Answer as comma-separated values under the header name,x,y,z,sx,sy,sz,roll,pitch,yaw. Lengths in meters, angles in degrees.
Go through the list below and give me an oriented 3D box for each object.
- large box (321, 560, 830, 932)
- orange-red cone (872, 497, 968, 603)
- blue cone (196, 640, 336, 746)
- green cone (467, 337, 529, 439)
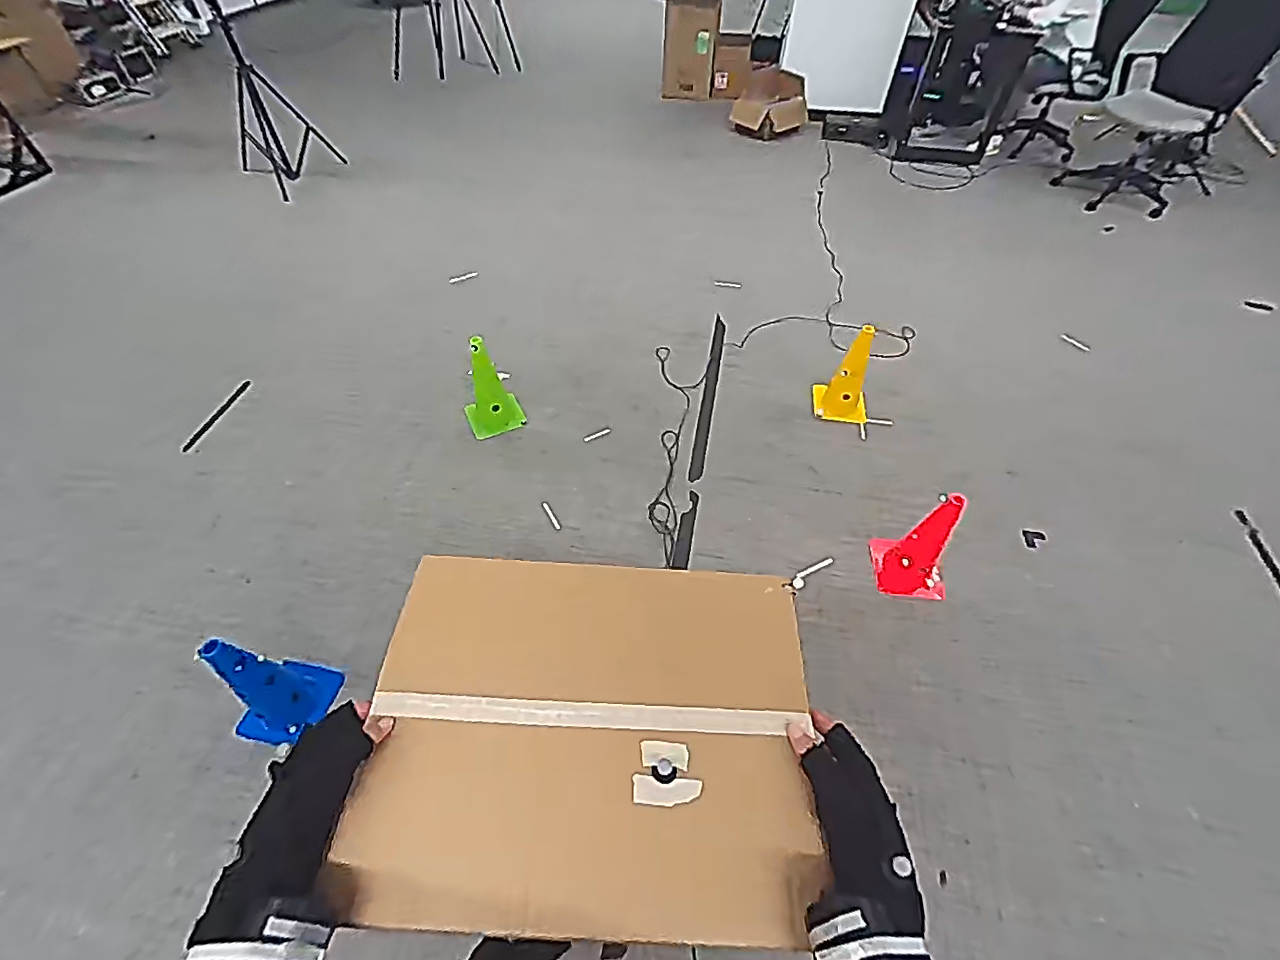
name,x,y,z,sx,sy,sz,roll,pitch,yaw
large box,-0.052,0.312,0.624,0.408,0.320,0.320,4,52,-1
orange-red cone,0.834,0.171,1.549,0.198,0.360,0.199,7,49,4
blue cone,-0.909,0.474,1.280,0.192,0.380,0.193,11,51,9
green cone,-0.551,-0.359,1.957,0.202,0.368,0.200,-22,53,-16
